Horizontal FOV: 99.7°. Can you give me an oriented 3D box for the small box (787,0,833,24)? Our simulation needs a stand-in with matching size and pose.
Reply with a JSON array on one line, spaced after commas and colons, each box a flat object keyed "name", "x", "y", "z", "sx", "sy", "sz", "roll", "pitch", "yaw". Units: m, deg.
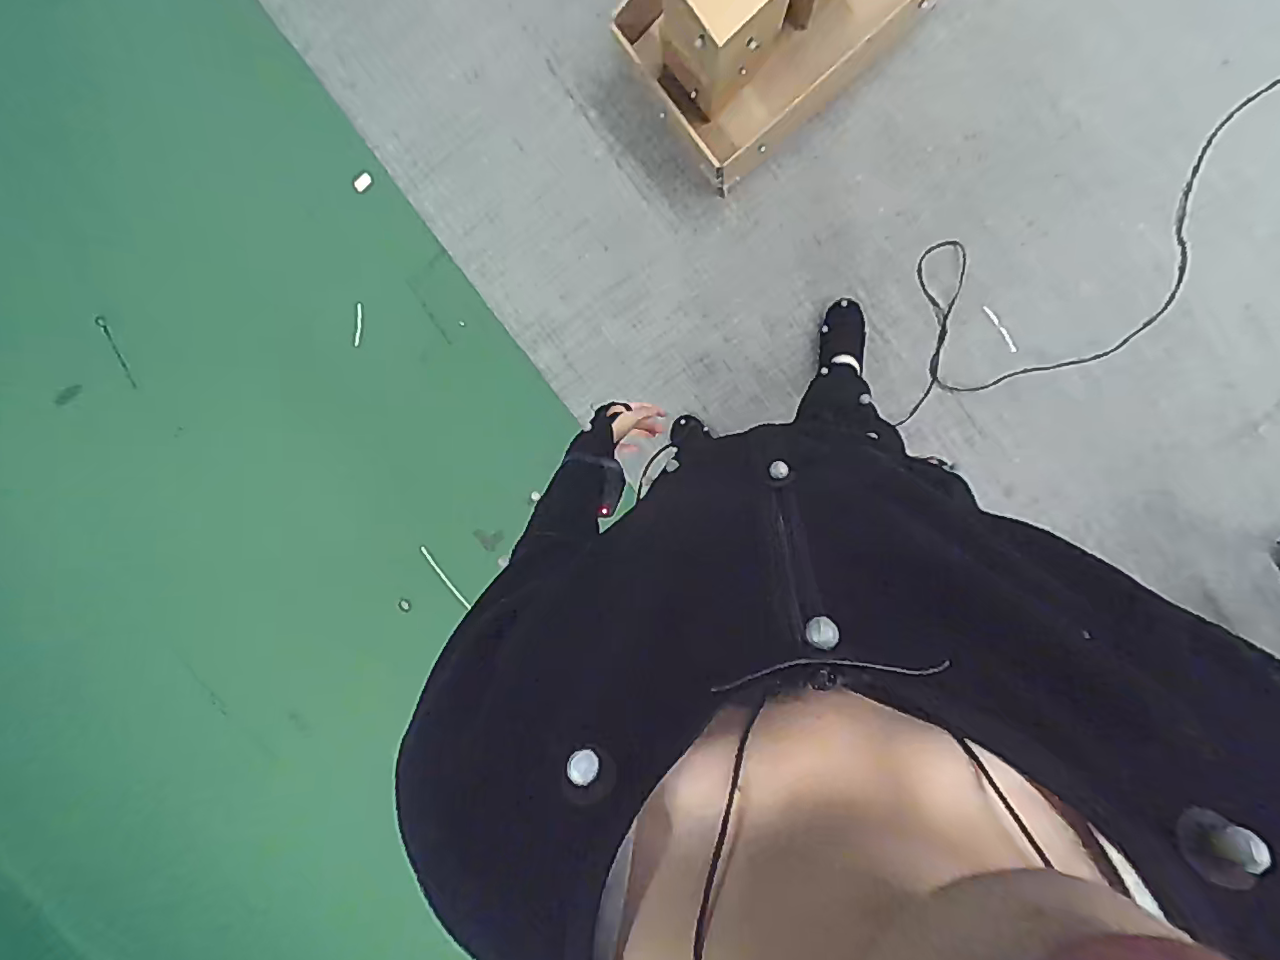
[{"name": "small box", "x": 0.370, "y": -1.104, "z": 1.105, "sx": 0.179, "sy": 0.176, "sz": 0.168, "roll": -43, "pitch": 94, "yaw": 13}]

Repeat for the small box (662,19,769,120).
[{"name": "small box", "x": 0.169, "y": -0.935, "z": 1.171, "sx": 0.179, "sy": 0.176, "sz": 0.168, "roll": -42, "pitch": 96, "yaw": 12}]

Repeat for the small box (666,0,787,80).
[{"name": "small box", "x": 0.163, "y": -0.898, "z": 1.011, "sx": 0.168, "sy": 0.176, "sz": 0.179, "roll": -37, "pitch": 97, "yaw": 12}]
